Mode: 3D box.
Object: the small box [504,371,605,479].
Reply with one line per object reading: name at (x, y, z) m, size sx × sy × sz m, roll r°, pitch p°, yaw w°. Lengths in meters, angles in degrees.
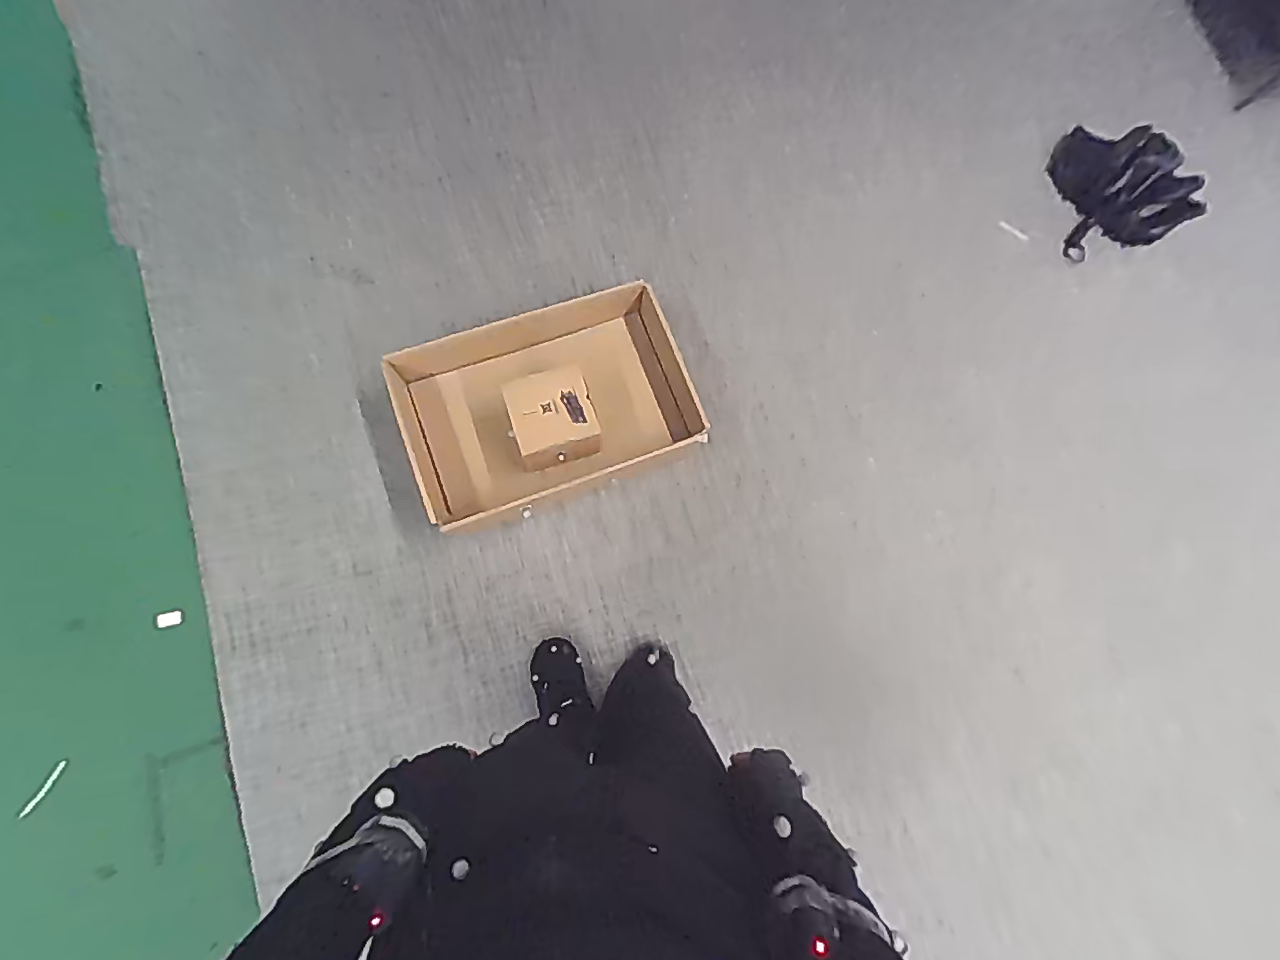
small box at (-0.190, -0.117, 1.213) m, size 0.179 × 0.176 × 0.168 m, roll -20°, pitch 81°, yaw -10°
